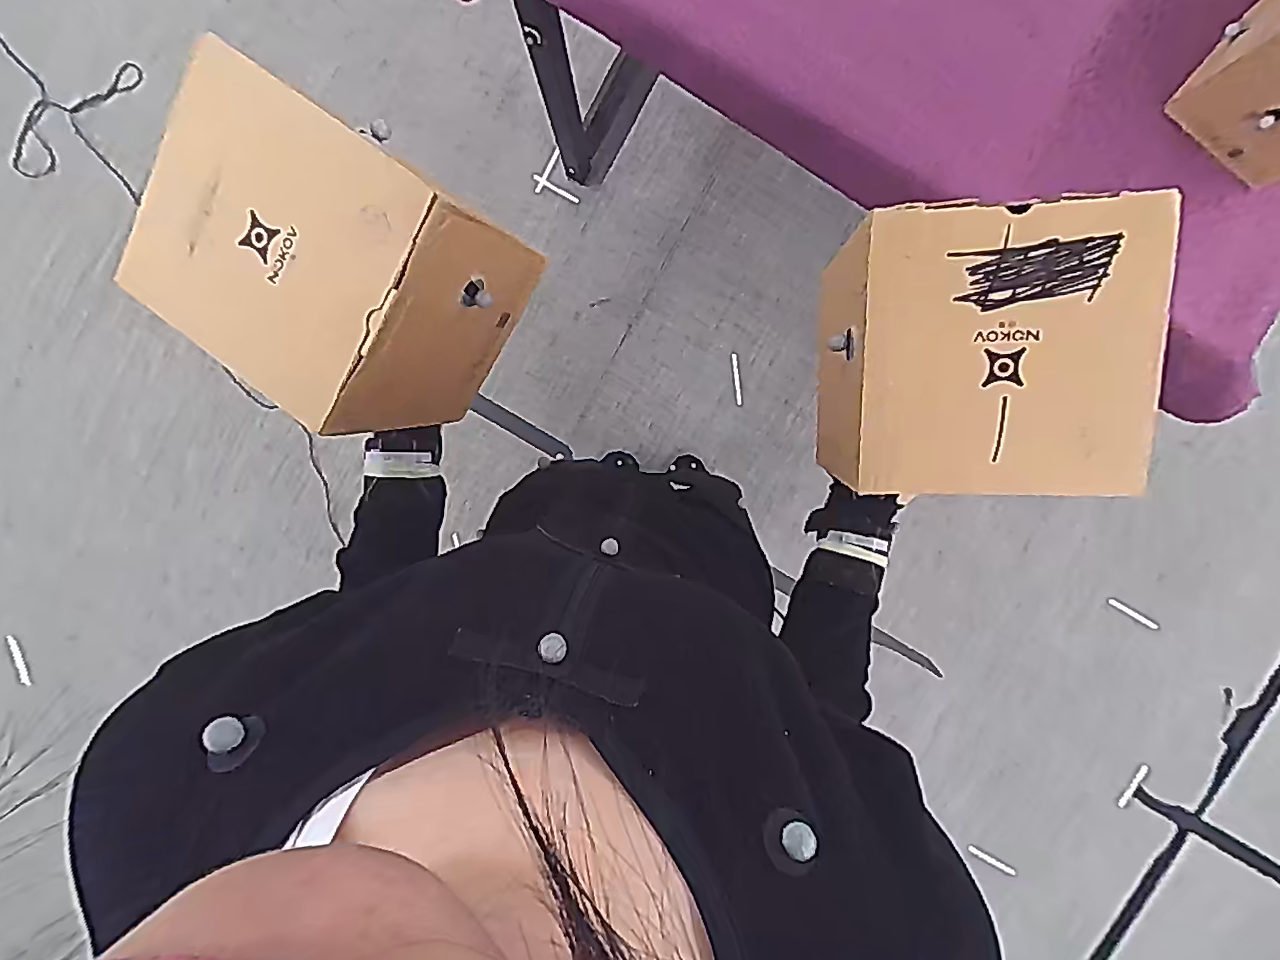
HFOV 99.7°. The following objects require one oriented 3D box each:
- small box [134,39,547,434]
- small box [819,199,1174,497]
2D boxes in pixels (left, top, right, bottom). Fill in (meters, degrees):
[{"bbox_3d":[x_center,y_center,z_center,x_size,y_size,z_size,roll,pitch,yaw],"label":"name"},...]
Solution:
[{"bbox_3d":[-0.198,-0.155,0.401,0.179,0.176,0.168,36,104,5],"label":"small box"},{"bbox_3d":[0.236,-0.088,0.409,0.168,0.176,0.179,1,99,9],"label":"small box"}]
